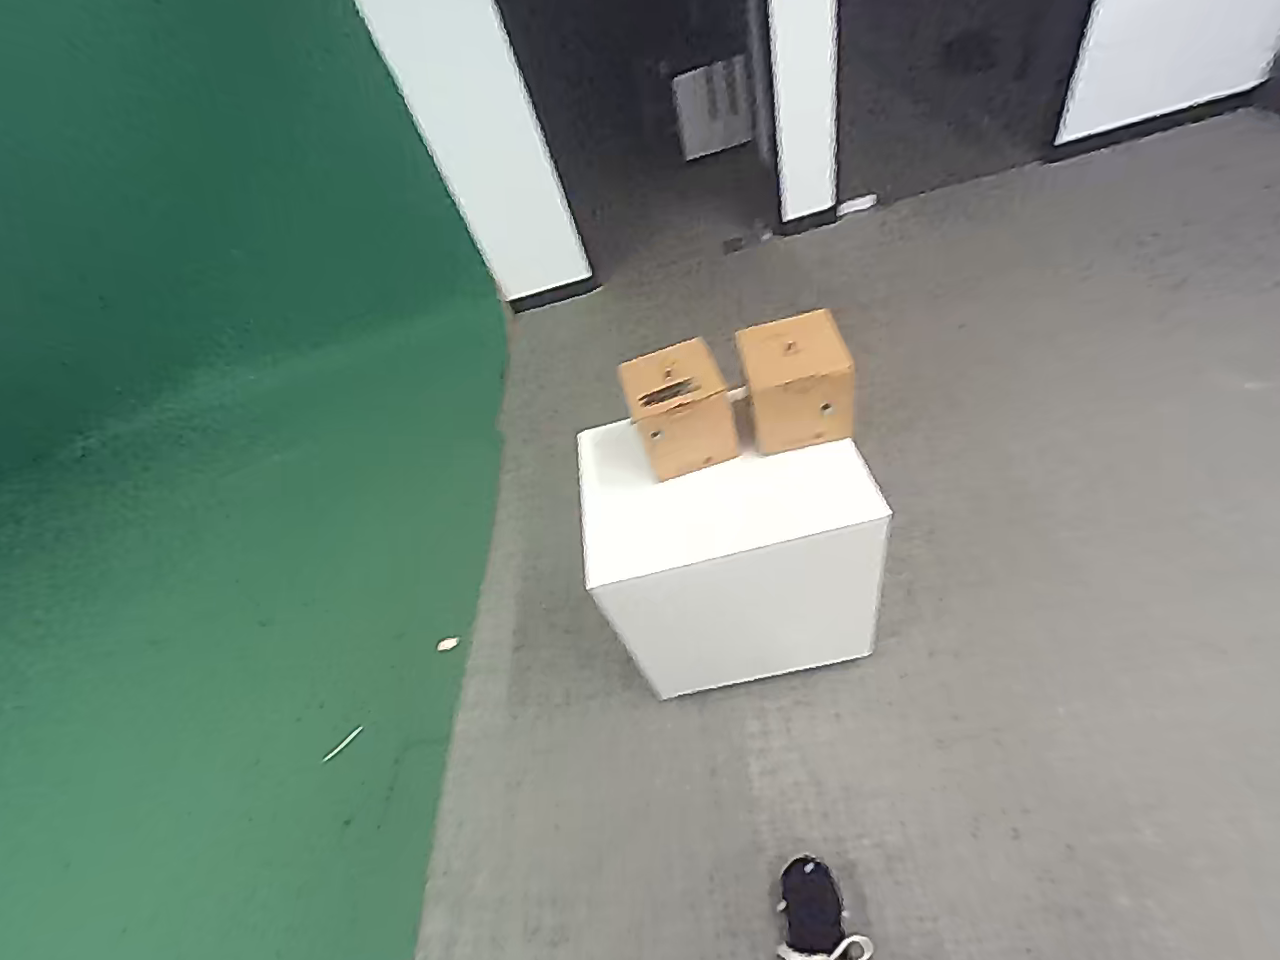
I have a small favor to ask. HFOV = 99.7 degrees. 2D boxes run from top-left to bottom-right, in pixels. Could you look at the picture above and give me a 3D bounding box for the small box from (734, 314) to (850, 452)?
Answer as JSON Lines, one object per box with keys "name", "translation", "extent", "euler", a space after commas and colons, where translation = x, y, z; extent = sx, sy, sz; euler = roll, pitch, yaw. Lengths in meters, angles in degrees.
{"name": "small box", "translation": [0.275, -0.168, 0.988], "extent": [0.168, 0.176, 0.179], "euler": [-11, 47, 8]}
